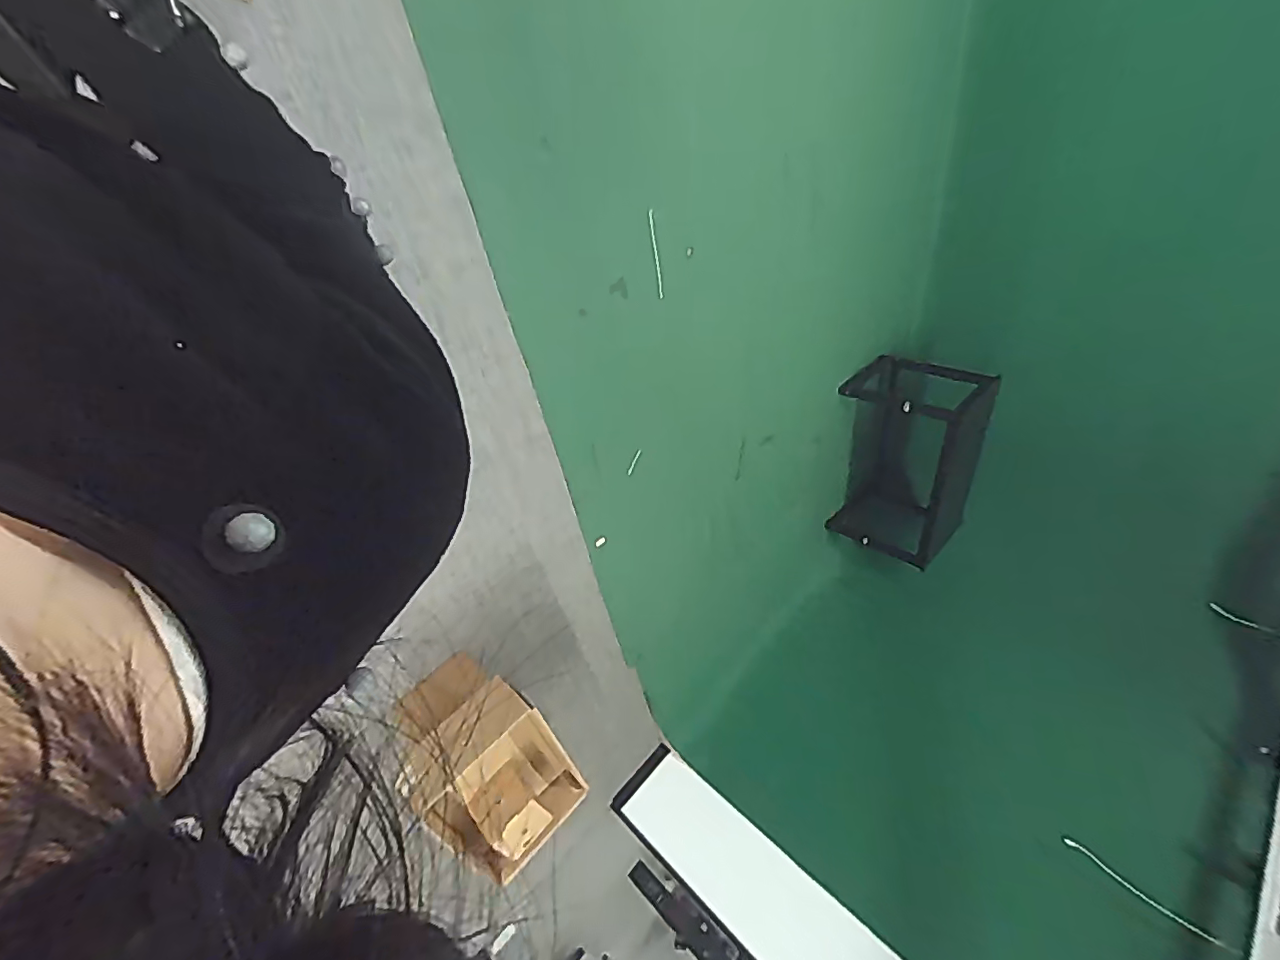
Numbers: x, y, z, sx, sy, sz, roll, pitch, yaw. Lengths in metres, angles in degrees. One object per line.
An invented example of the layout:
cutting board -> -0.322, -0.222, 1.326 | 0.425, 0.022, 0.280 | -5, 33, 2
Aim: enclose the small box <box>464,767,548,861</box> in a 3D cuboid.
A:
small box -> -0.430, 1.058, 1.726 | 0.168, 0.176, 0.179 | -42, 134, -24
